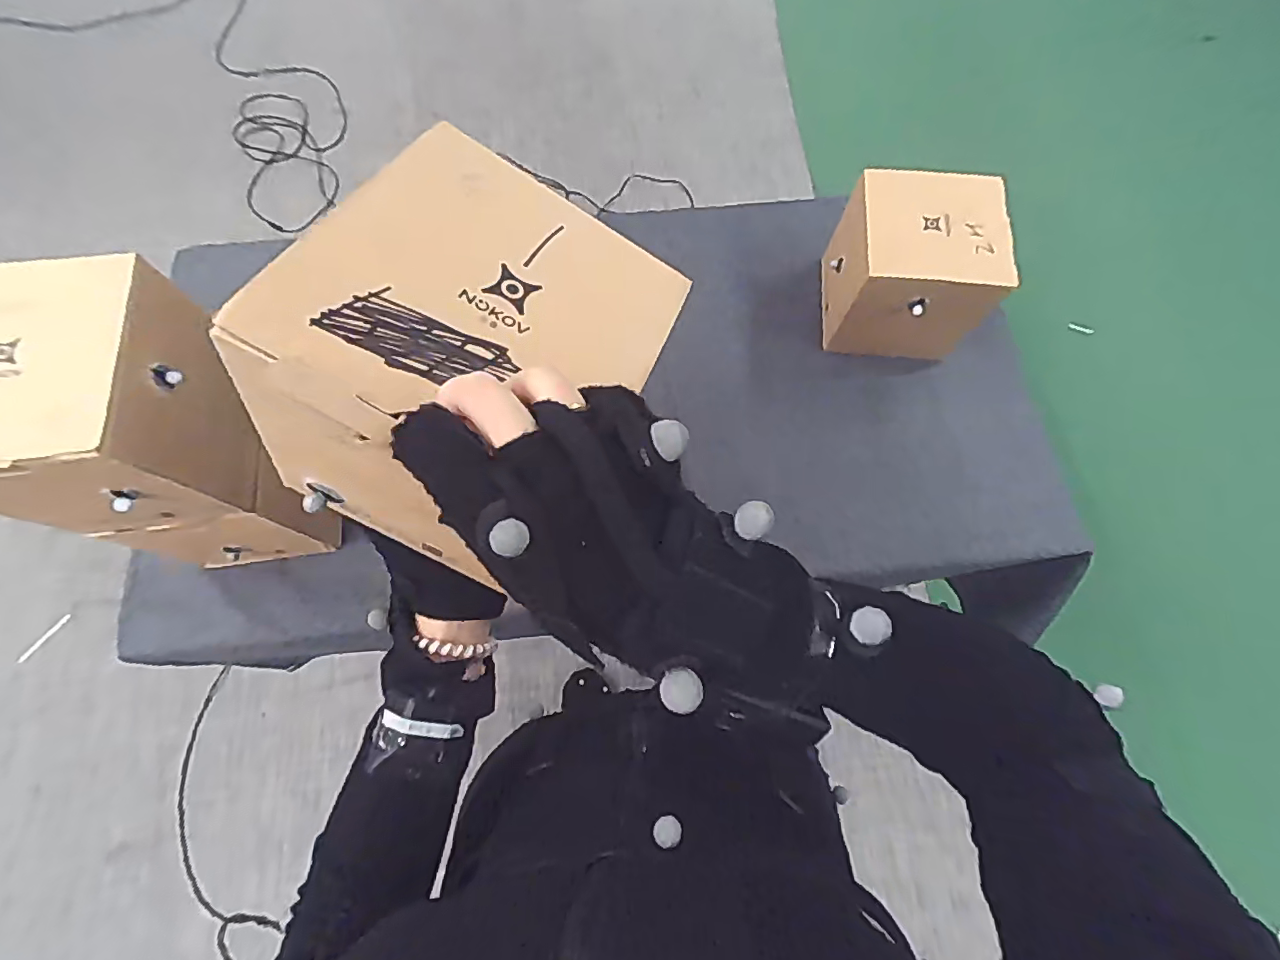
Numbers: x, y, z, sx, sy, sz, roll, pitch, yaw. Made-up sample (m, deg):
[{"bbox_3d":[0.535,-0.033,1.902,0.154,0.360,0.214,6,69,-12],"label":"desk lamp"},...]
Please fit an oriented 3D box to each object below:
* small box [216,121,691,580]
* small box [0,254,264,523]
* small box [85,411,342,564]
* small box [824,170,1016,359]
[{"bbox_3d":[-0.097,-0.060,0.332,0.168,0.176,0.179,29,58,-10],"label":"small box"},{"bbox_3d":[-0.466,-0.065,0.475,0.168,0.176,0.179,-6,71,-4],"label":"small box"},{"bbox_3d":[-0.468,-0.012,0.629,0.168,0.176,0.179,-8,72,-4],"label":"small box"},{"bbox_3d":[0.356,-0.279,0.725,0.179,0.176,0.168,6,72,1],"label":"small box"}]
